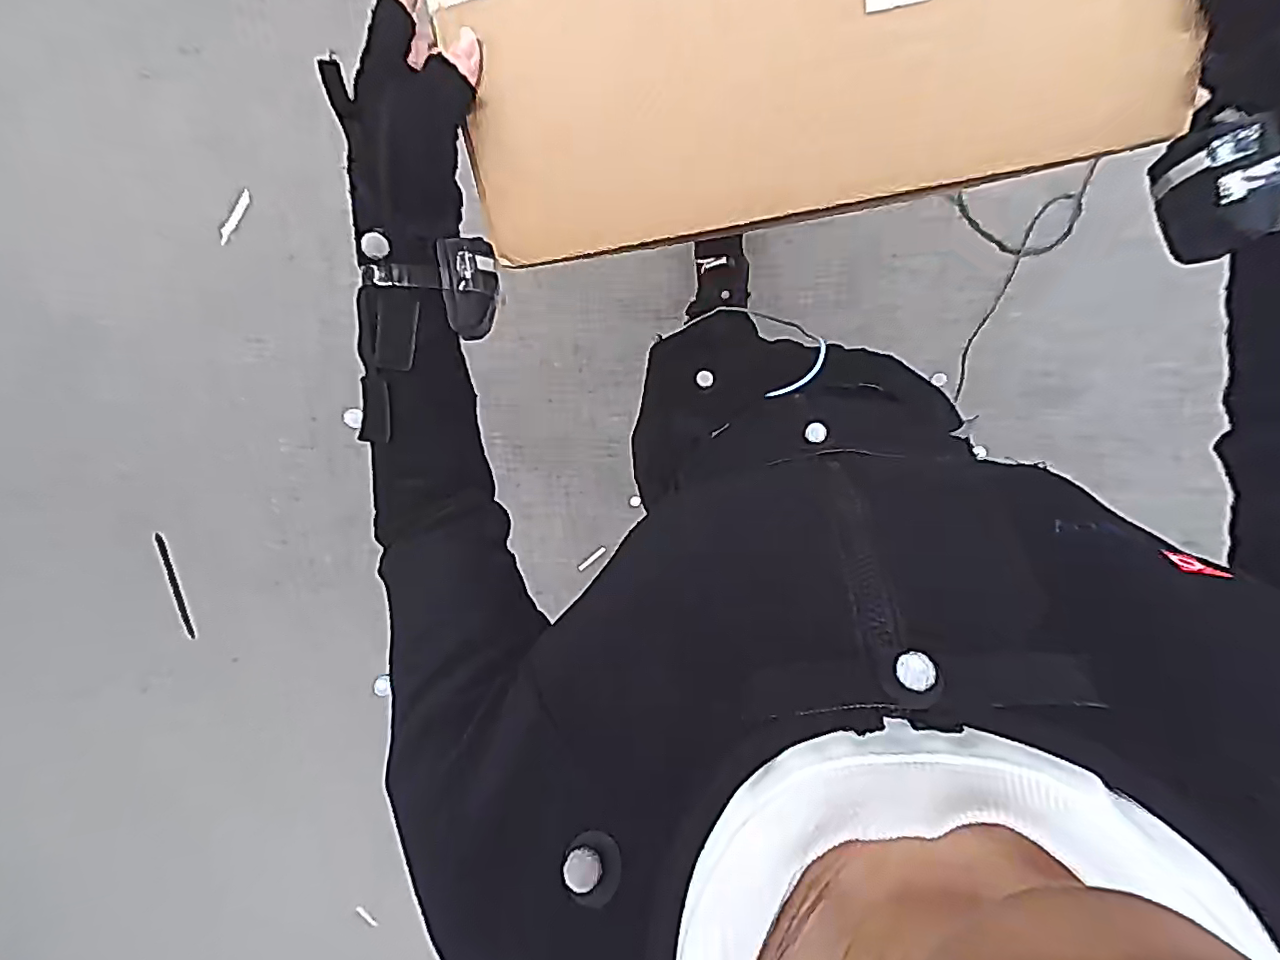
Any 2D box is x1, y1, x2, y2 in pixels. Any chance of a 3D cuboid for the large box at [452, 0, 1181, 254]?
[{"bbox_3d":[0.095,-0.380,0.424,0.408,0.320,0.320,-7,113,11],"label":"large box"}]
